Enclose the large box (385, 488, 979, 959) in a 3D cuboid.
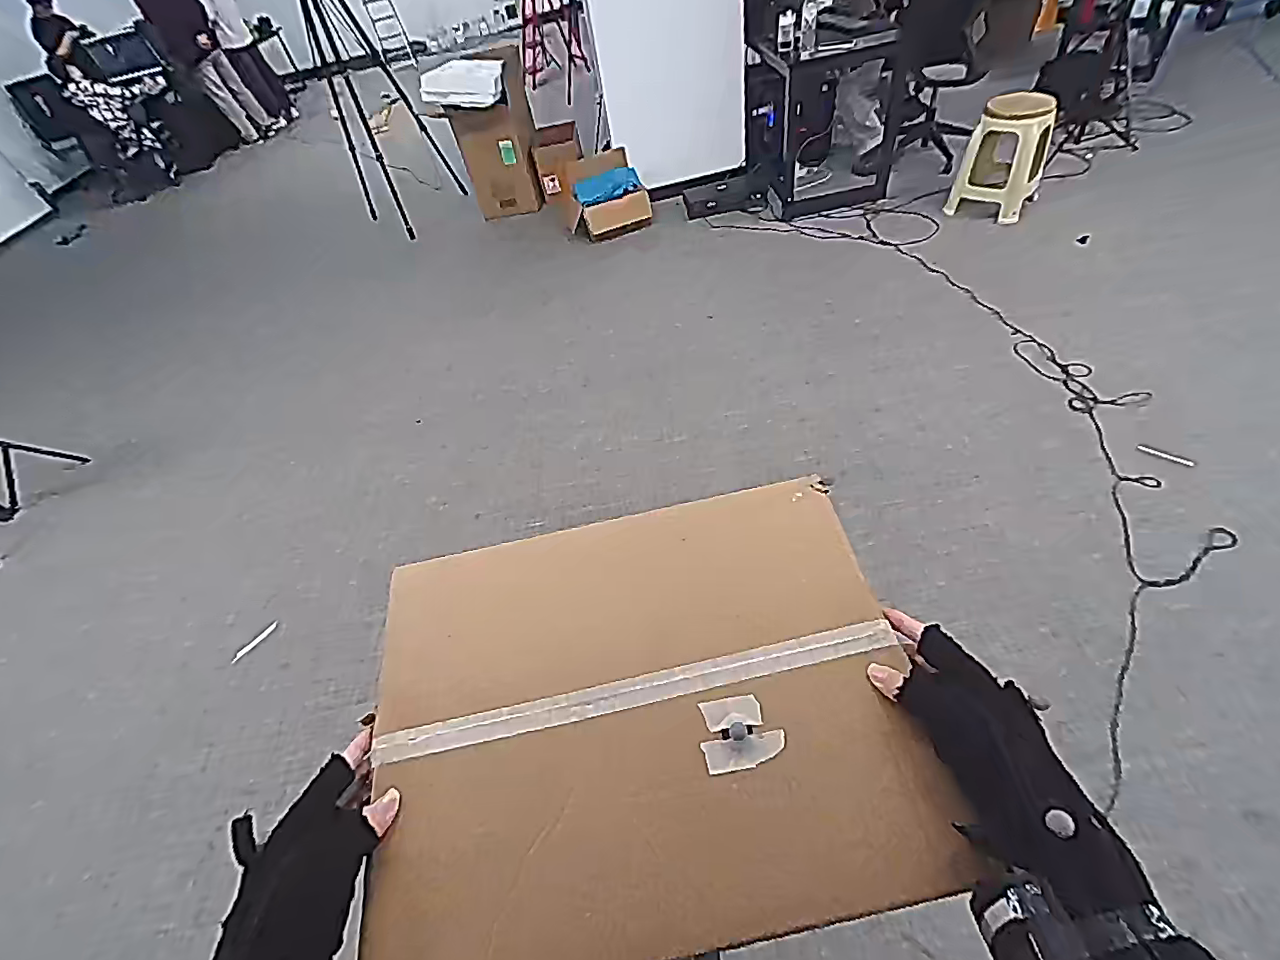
[{"bbox_3d":[0.017,0.256,0.552,0.408,0.320,0.320,-12,55,-1],"label":"large box"}]
